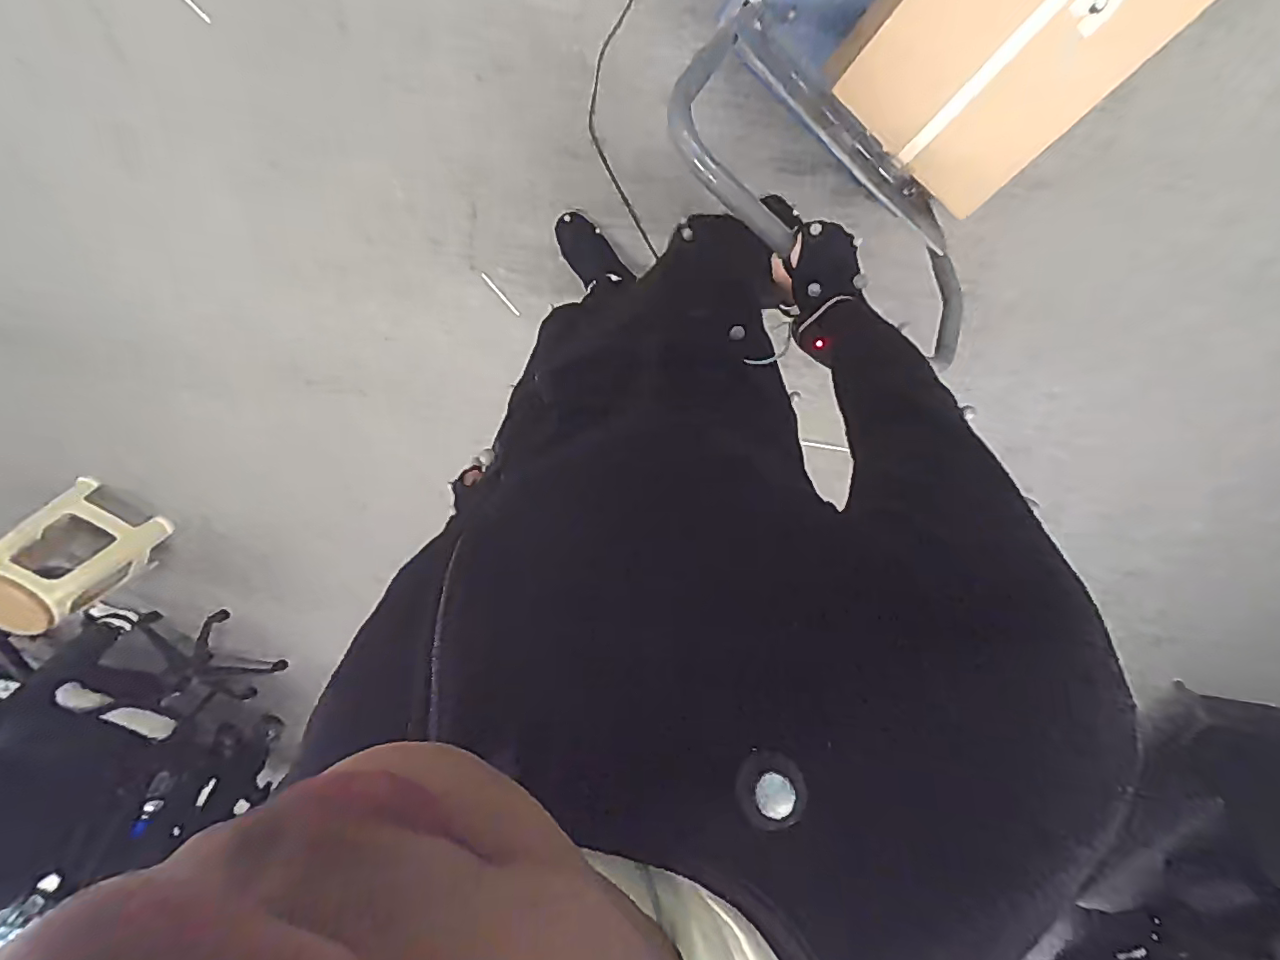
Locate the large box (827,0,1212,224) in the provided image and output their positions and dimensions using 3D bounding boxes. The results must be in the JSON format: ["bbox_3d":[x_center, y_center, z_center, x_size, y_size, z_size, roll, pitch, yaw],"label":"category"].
[{"bbox_3d":[0.563,-0.716,0.869,0.320,0.320,0.408,34,131,-16],"label":"large box"}]
